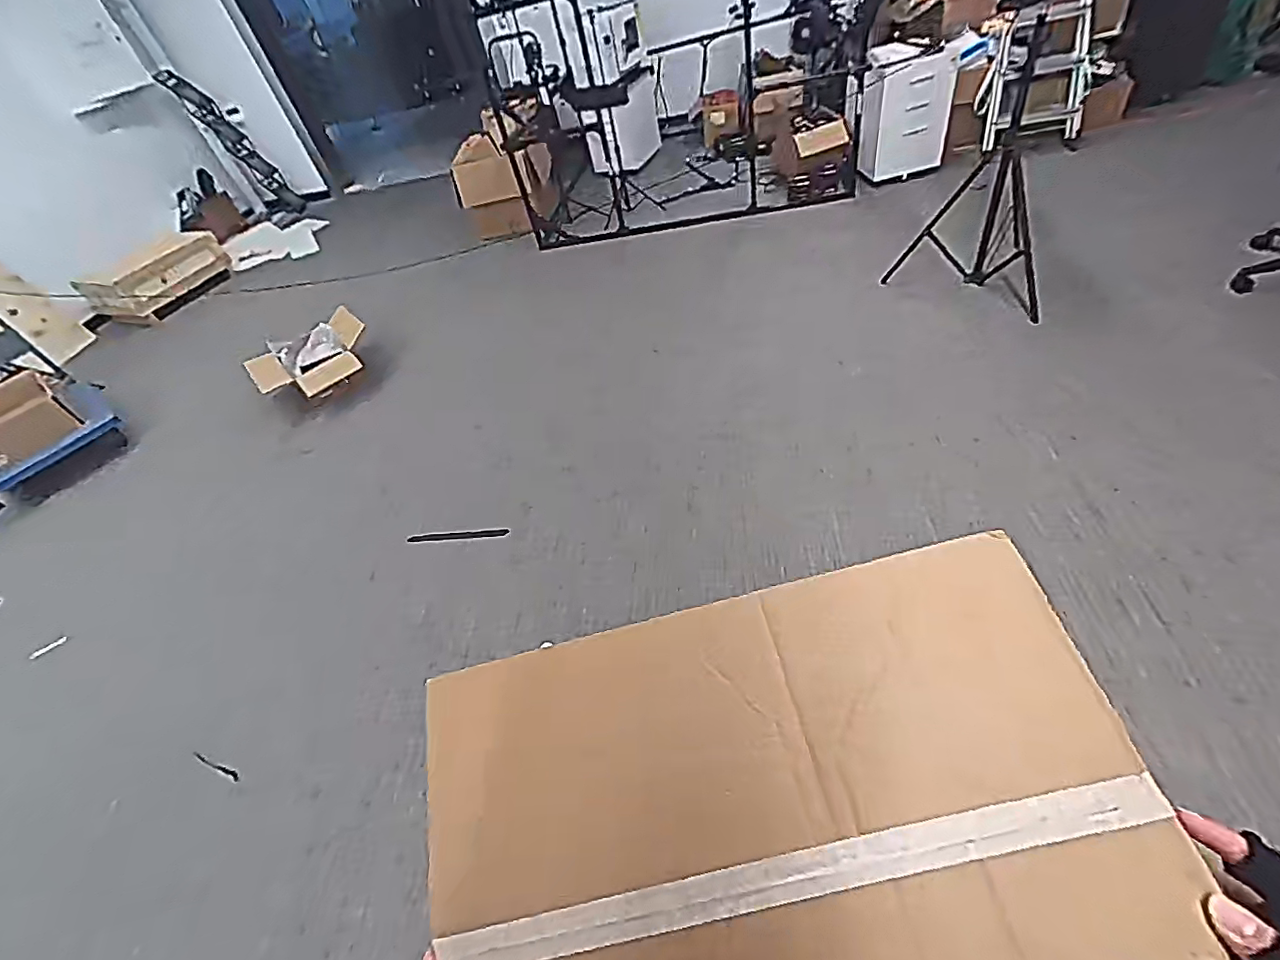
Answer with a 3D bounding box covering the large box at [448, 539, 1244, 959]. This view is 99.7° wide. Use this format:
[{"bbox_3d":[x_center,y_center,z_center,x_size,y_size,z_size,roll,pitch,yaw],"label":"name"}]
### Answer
[{"bbox_3d":[0.111,0.291,0.433,0.408,0.320,0.320,-16,62,4],"label":"large box"}]
